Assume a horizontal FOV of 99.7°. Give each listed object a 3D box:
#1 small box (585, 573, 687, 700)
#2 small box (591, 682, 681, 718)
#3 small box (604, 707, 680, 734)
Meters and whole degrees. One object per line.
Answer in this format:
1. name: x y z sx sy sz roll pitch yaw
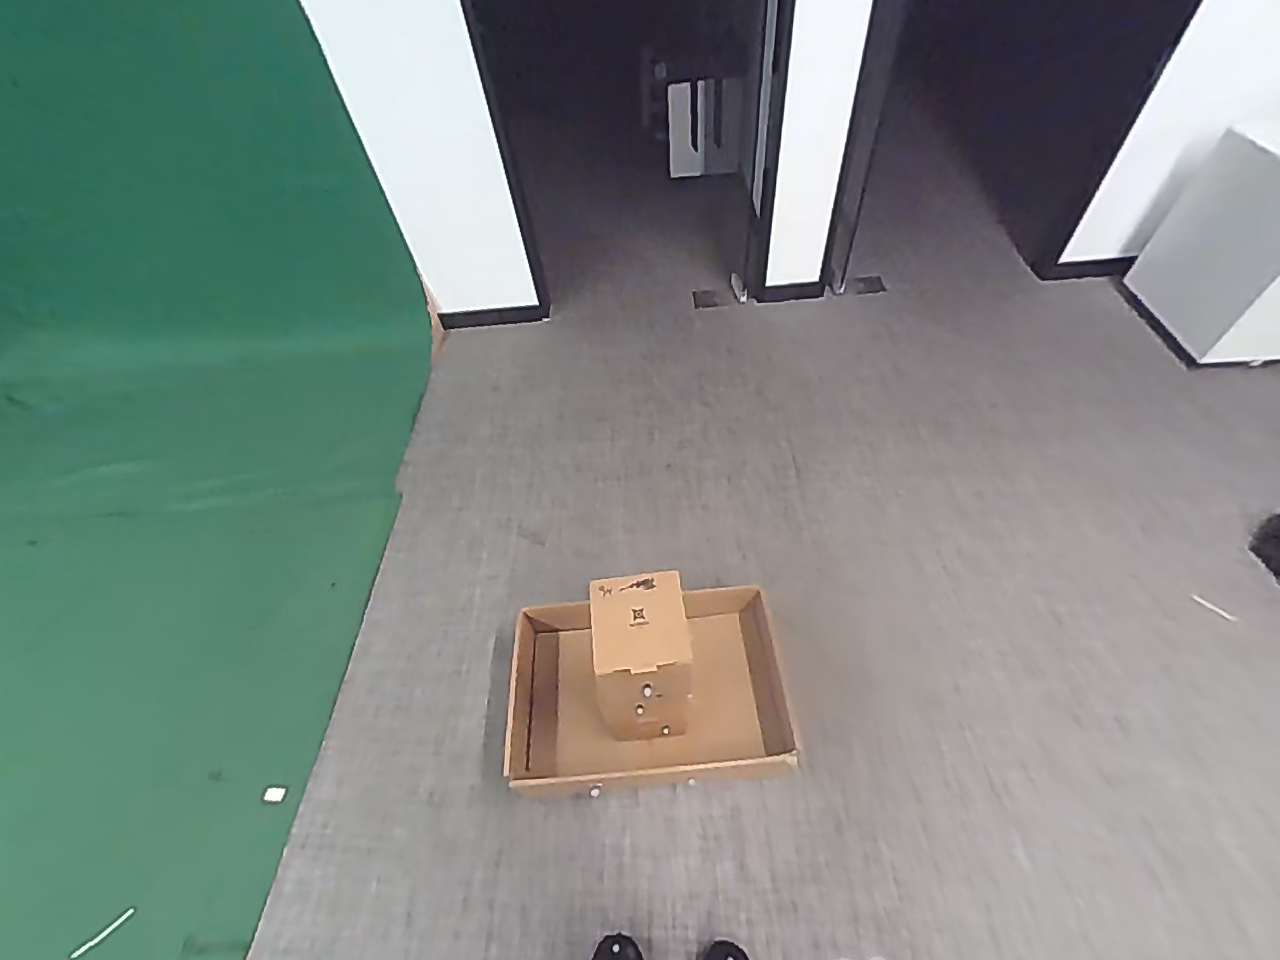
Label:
1. small box: -0.007 0.303 1.023 0.168 0.176 0.179 -9 51 -1
2. small box: -0.006 0.398 1.153 0.179 0.176 0.168 -5 50 2
3. small box: 0.003 0.486 1.272 0.168 0.176 0.179 -5 50 0
